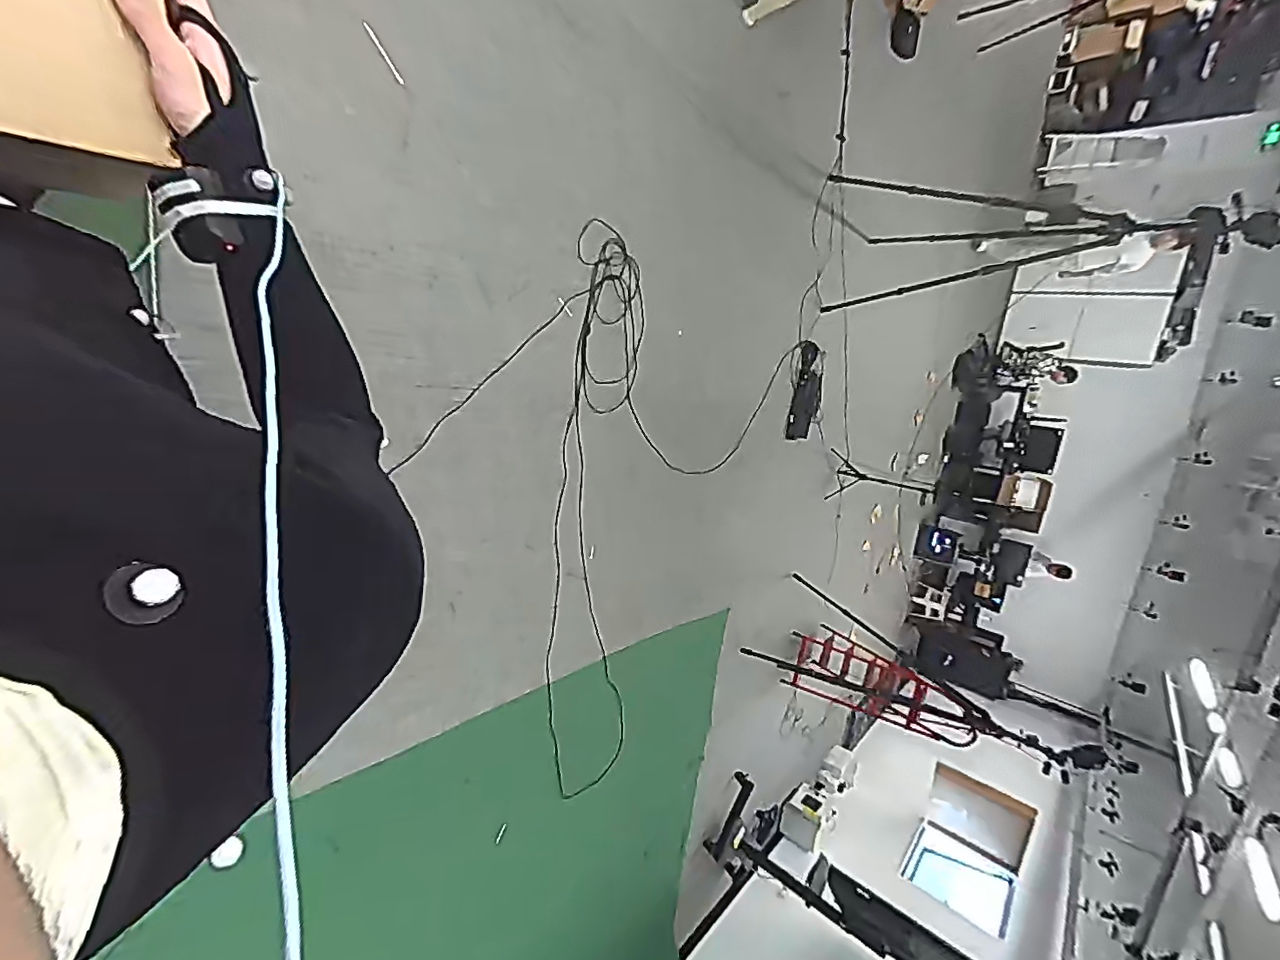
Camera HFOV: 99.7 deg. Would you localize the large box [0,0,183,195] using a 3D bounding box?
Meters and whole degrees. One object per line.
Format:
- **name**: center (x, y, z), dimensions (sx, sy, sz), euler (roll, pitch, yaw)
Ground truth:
- **large box**: center (-0.616, -0.411, 0.358), dimensions (0.408, 0.320, 0.320), euler (-14, 115, -48)
